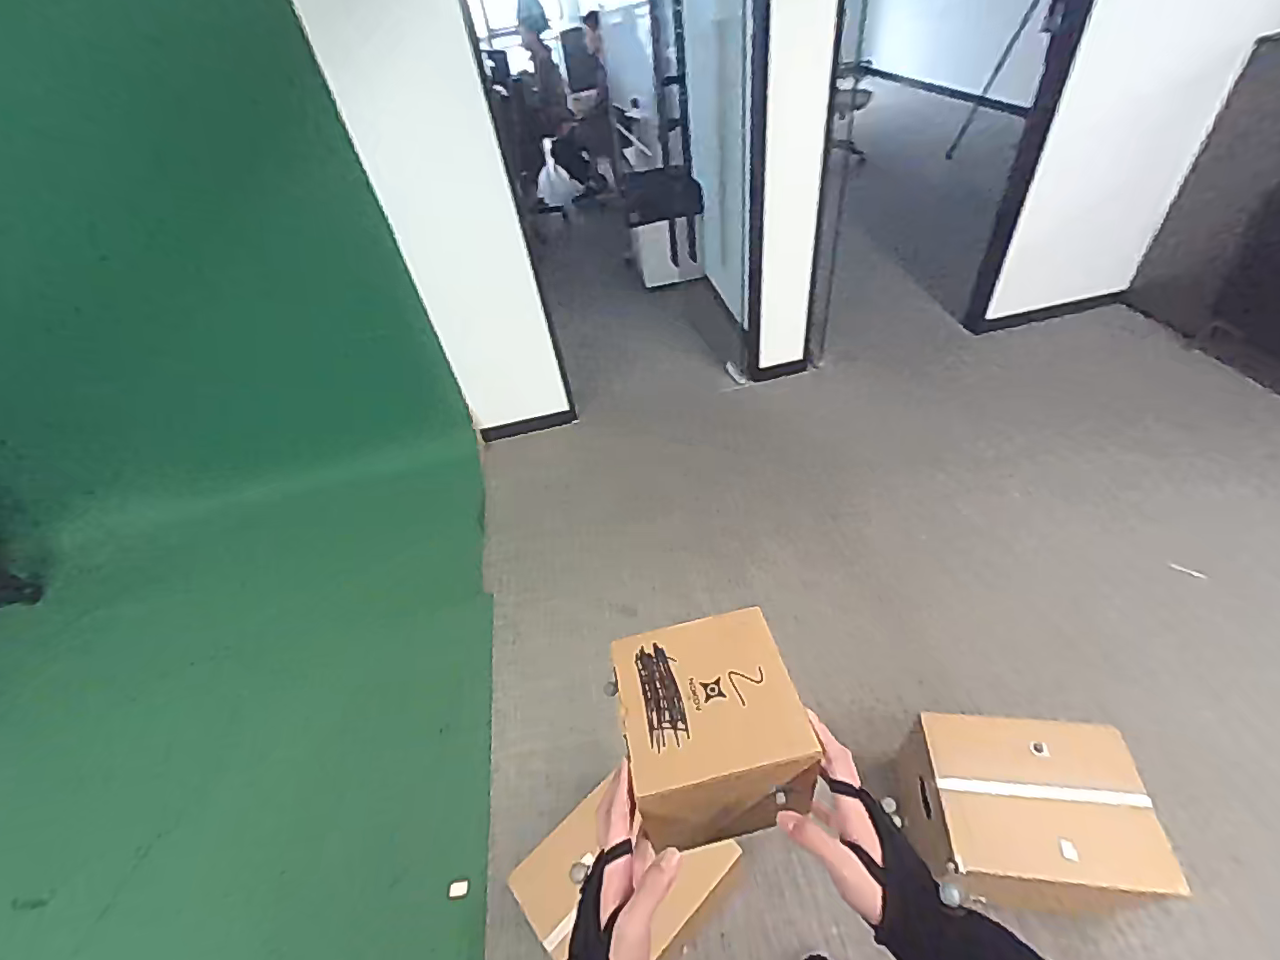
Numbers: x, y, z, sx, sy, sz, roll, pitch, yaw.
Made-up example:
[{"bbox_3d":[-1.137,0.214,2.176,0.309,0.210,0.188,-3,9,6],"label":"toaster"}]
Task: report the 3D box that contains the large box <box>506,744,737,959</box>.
[{"bbox_3d":[-0.021,0.911,1.233,0.408,0.320,0.320,-37,50,-24],"label":"large box"}]
